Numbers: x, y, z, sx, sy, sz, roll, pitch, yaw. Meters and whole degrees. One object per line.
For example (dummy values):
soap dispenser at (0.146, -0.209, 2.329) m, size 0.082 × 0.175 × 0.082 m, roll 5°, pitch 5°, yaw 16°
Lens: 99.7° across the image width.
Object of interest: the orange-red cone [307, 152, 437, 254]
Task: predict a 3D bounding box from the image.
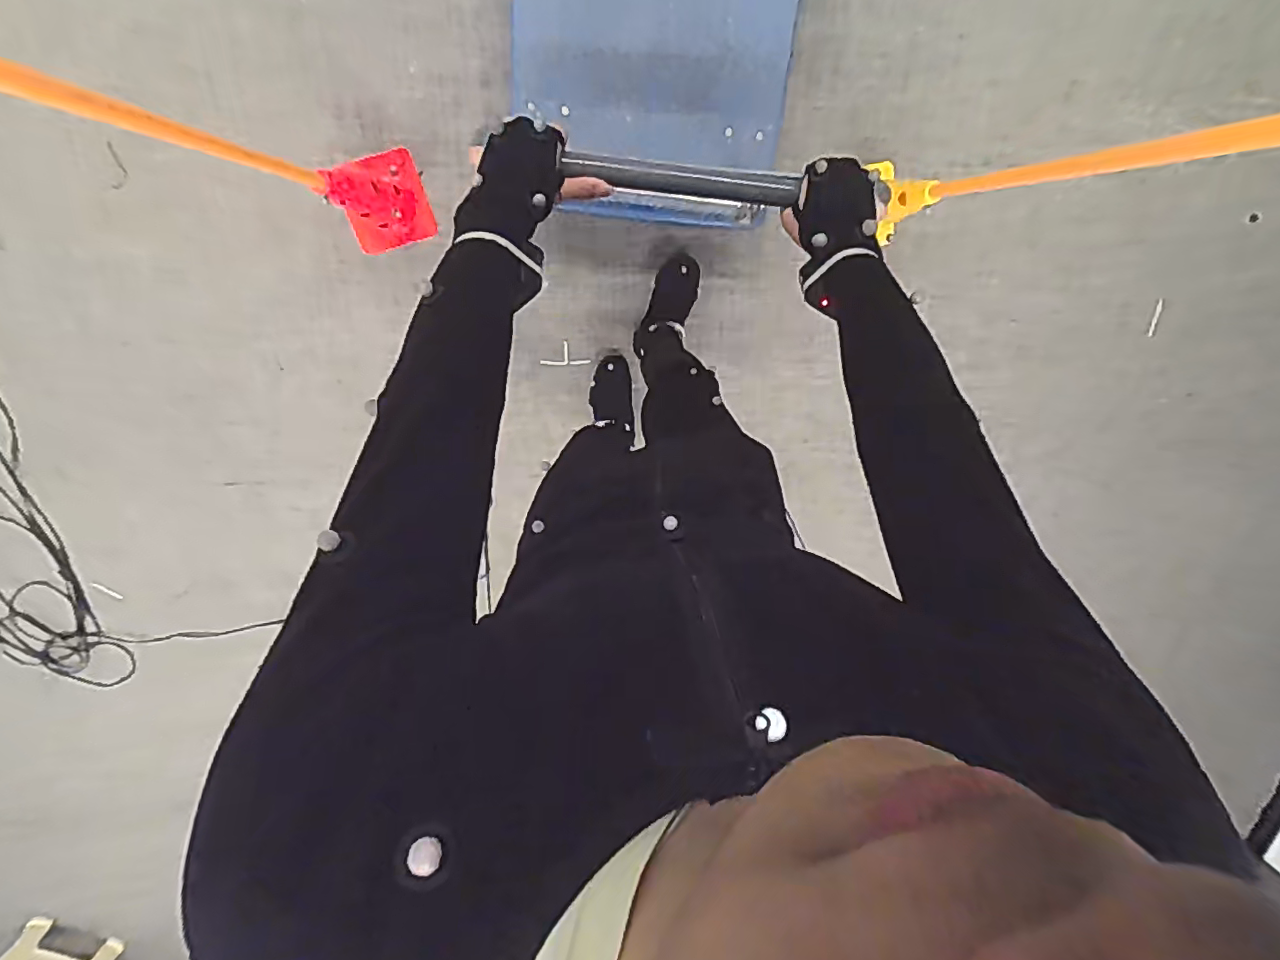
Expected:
orange-red cone at (-0.603, -0.606, 1.150) m, size 0.199 × 0.360 × 0.198 m, roll -15°, pitch 111°, yaw 2°
